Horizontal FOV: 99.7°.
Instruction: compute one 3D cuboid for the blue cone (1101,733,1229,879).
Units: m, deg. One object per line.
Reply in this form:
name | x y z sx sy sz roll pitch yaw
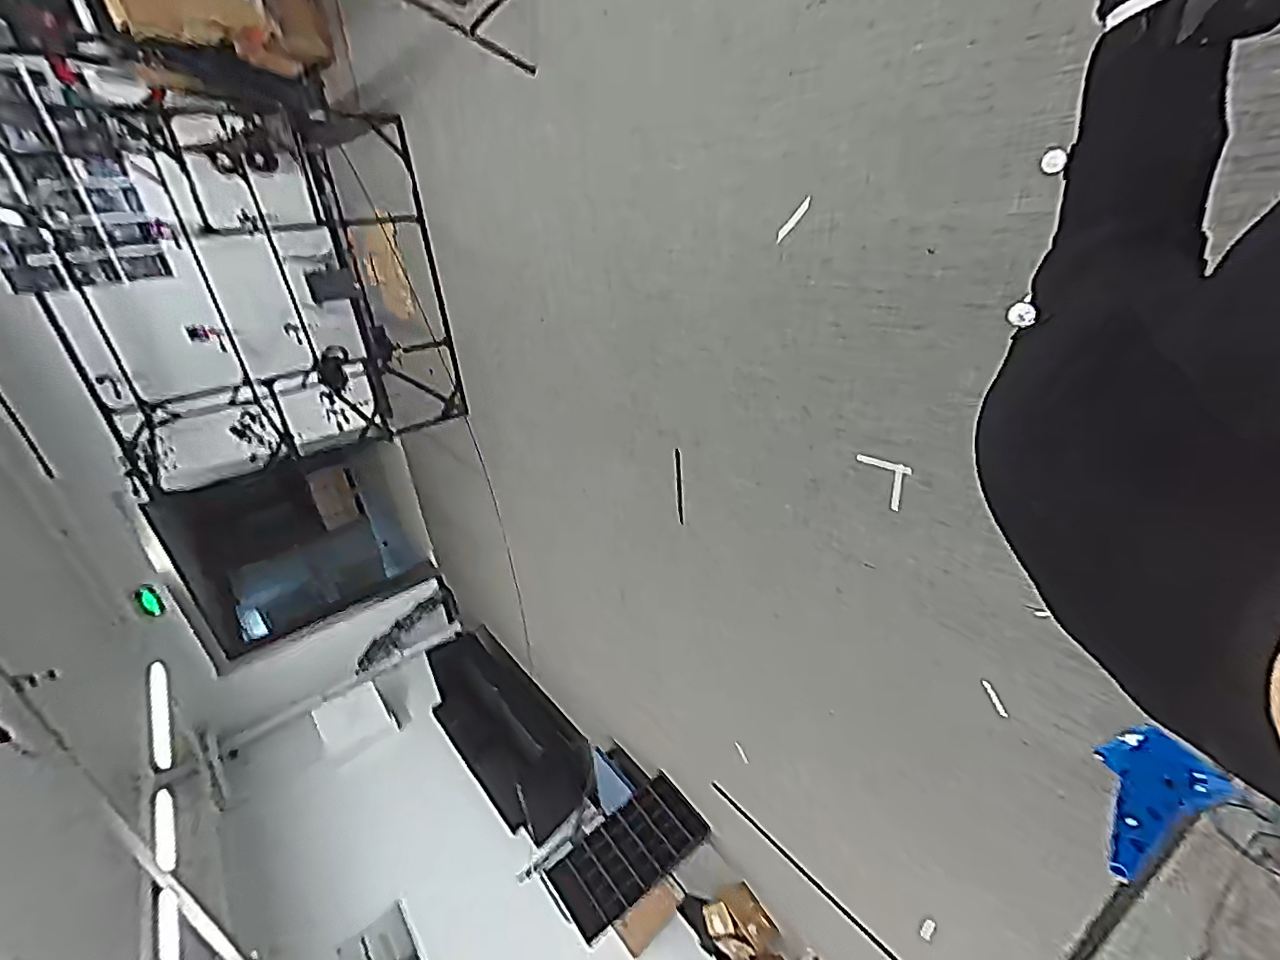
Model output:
blue cone | 1.201 0.800 1.288 0.193 0.380 0.192 47 143 29
